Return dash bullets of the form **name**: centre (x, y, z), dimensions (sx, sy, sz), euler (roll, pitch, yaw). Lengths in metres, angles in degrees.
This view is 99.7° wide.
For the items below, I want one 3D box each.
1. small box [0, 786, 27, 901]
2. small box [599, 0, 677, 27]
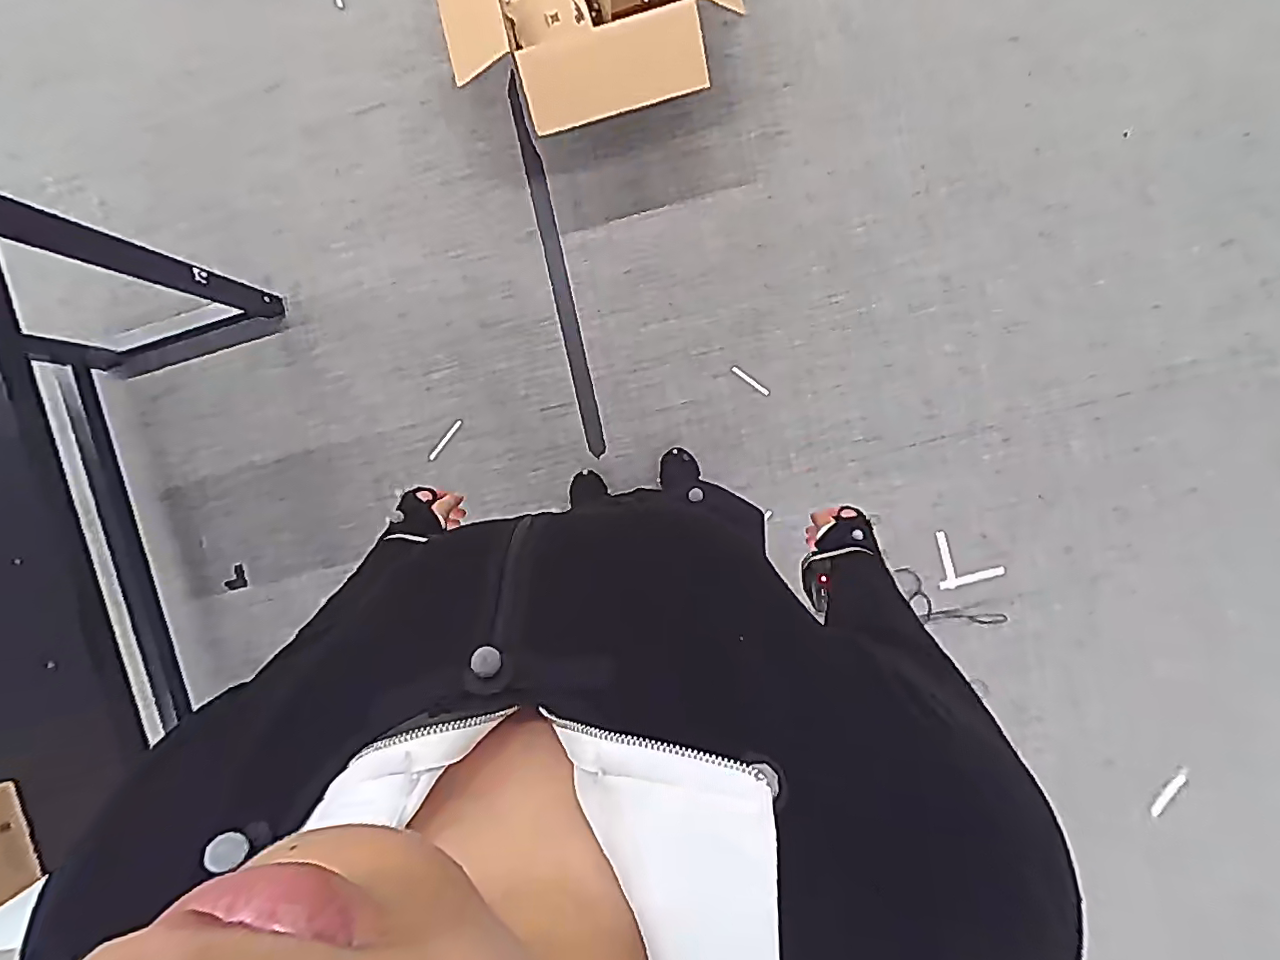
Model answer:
- **small box**: centre (-1.054, 0.574, 0.777), dimensions (0.179, 0.176, 0.168), euler (-14, 92, 5)
- **small box**: centre (-0.017, -1.120, 1.150), dimensions (0.168, 0.176, 0.179), euler (-20, 93, 1)
